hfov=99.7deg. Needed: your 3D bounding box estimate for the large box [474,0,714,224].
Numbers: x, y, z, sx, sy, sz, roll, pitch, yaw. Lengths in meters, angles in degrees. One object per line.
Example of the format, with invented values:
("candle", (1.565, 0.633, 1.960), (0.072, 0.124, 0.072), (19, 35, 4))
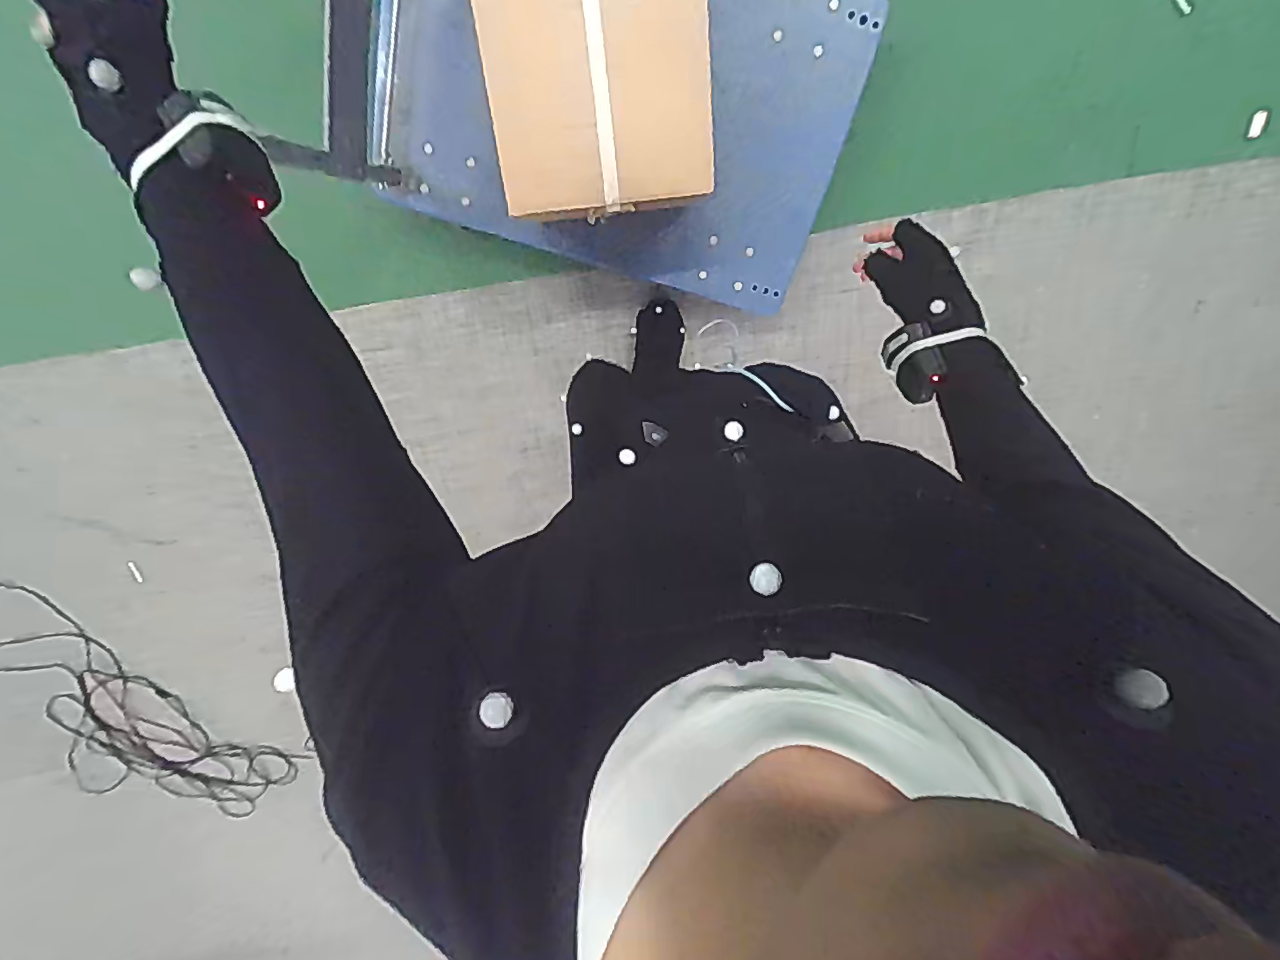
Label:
("large box", (-0.063, -0.658, 0.879), (0.320, 0.320, 0.408), (-6, 113, 1))
